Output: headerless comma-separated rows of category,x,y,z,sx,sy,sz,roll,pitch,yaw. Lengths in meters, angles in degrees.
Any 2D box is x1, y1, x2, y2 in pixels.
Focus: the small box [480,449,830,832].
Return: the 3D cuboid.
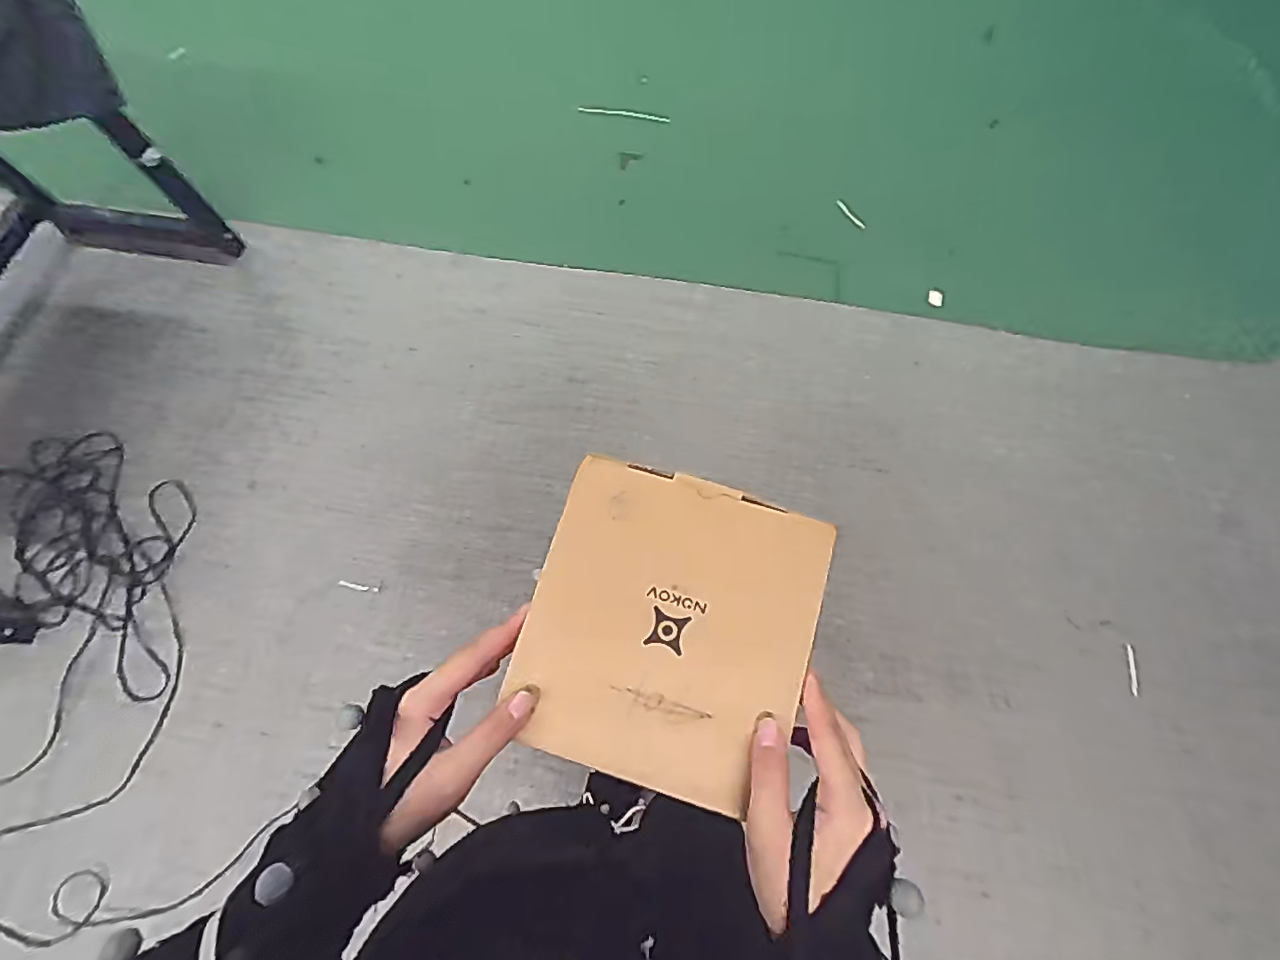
small box,0.014,0.102,0.386,0.168,0.176,0.179,16,77,6
